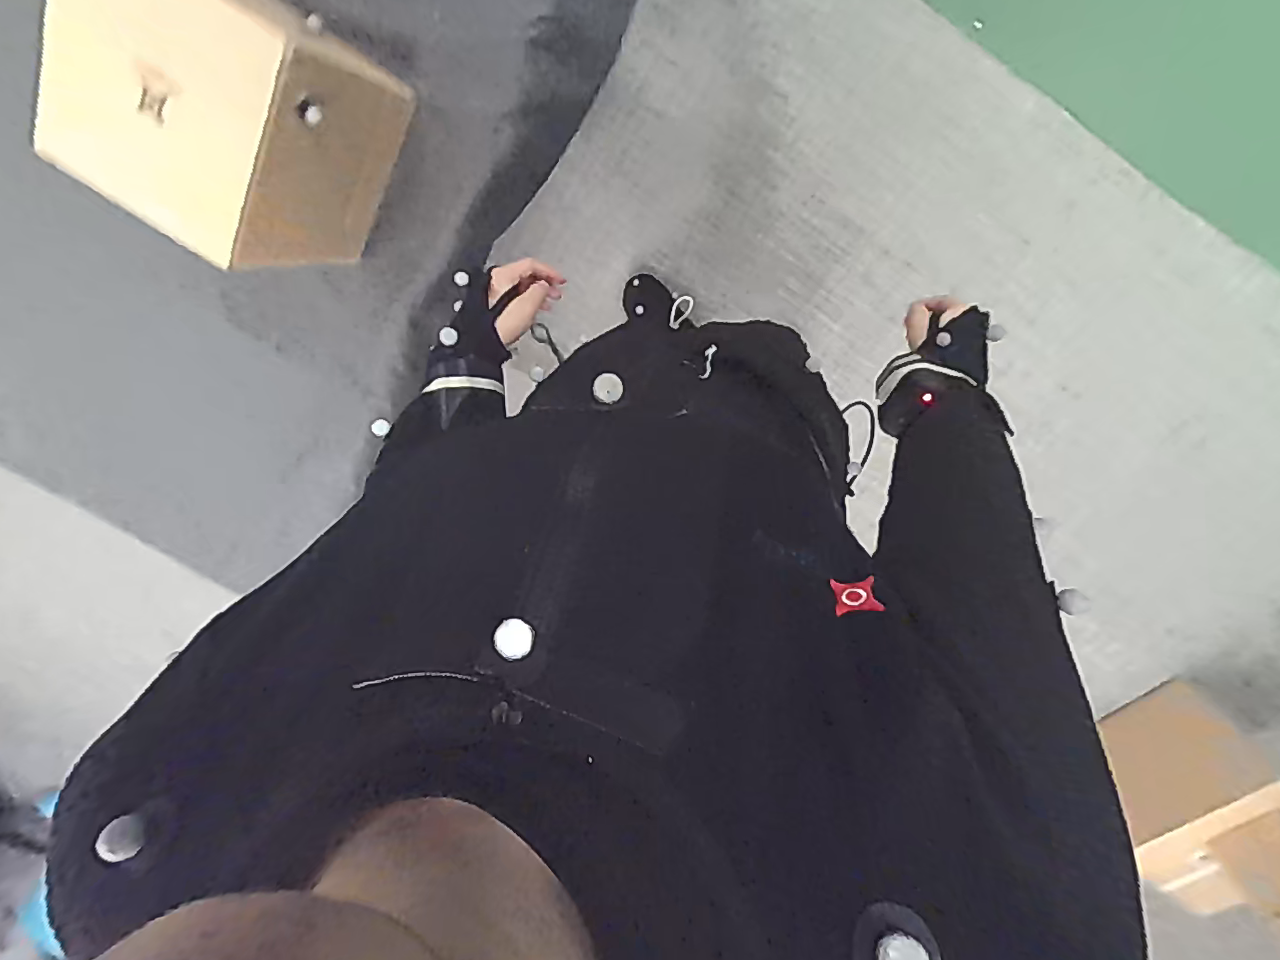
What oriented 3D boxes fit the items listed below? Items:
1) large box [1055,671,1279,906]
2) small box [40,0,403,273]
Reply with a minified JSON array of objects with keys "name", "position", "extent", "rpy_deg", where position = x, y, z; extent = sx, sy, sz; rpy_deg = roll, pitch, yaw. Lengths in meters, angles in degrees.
[{"name":"large box","position":[1.422,0.782,1.390],"extent":[0.320,0.320,0.408],"rpy_deg":[36,114,-7]},{"name":"small box","position":[-0.337,-0.301,0.463],"extent":[0.168,0.176,0.179],"rpy_deg":[32,113,-5]}]
